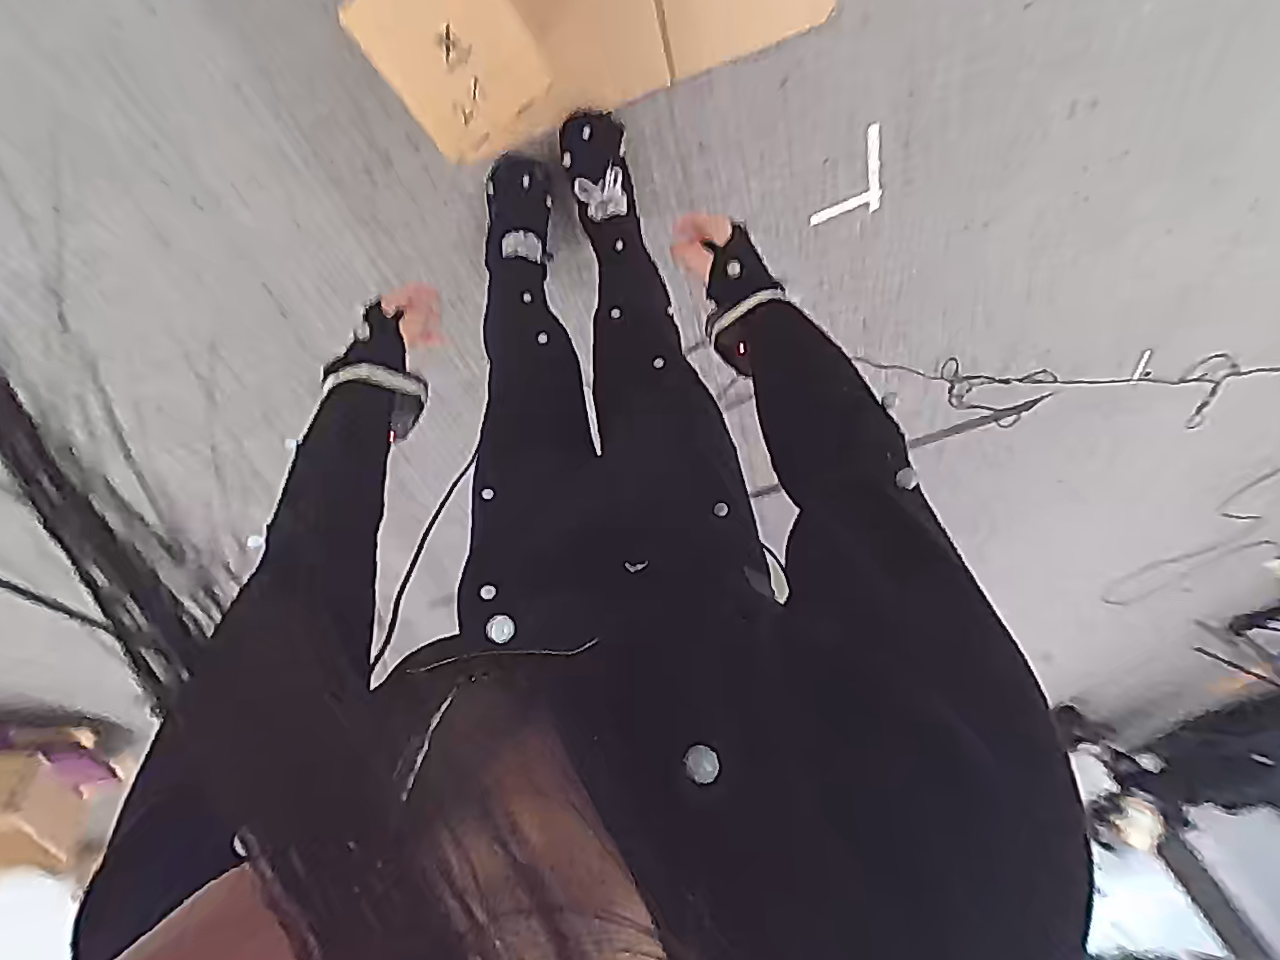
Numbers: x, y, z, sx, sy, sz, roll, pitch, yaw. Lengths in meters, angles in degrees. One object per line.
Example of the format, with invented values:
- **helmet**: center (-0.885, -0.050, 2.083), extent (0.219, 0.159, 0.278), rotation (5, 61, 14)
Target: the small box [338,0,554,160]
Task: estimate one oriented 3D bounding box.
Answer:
- **small box**: center (-0.227, -0.545, 0.668), extent (0.168, 0.176, 0.179), rotation (-28, 135, 15)
